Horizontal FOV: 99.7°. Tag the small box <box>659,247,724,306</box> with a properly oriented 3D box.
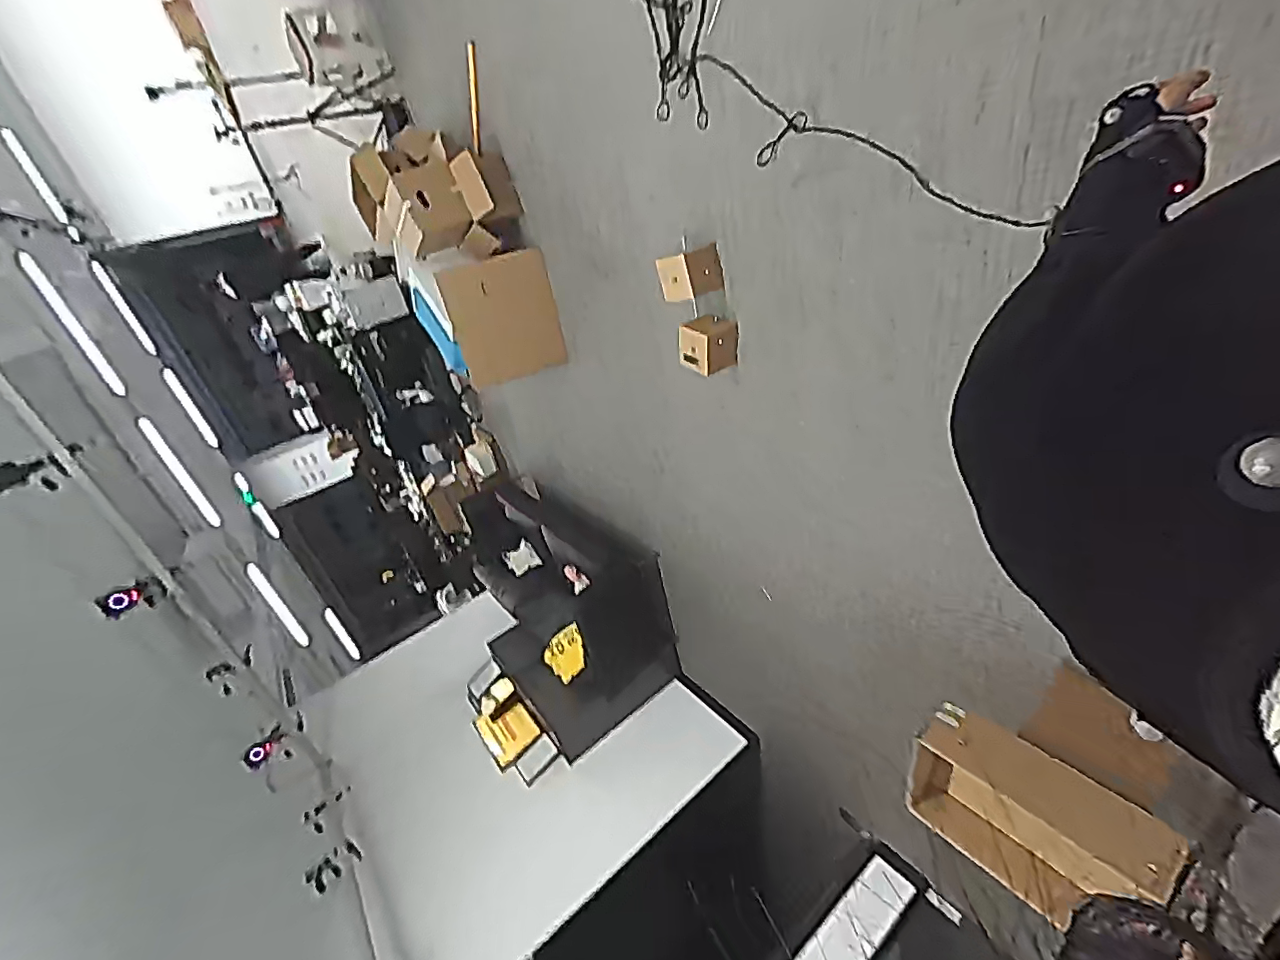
[{"bbox_3d":[0.205,-0.785,2.087,0.179,0.176,0.168,18,132,54],"label":"small box"}]
